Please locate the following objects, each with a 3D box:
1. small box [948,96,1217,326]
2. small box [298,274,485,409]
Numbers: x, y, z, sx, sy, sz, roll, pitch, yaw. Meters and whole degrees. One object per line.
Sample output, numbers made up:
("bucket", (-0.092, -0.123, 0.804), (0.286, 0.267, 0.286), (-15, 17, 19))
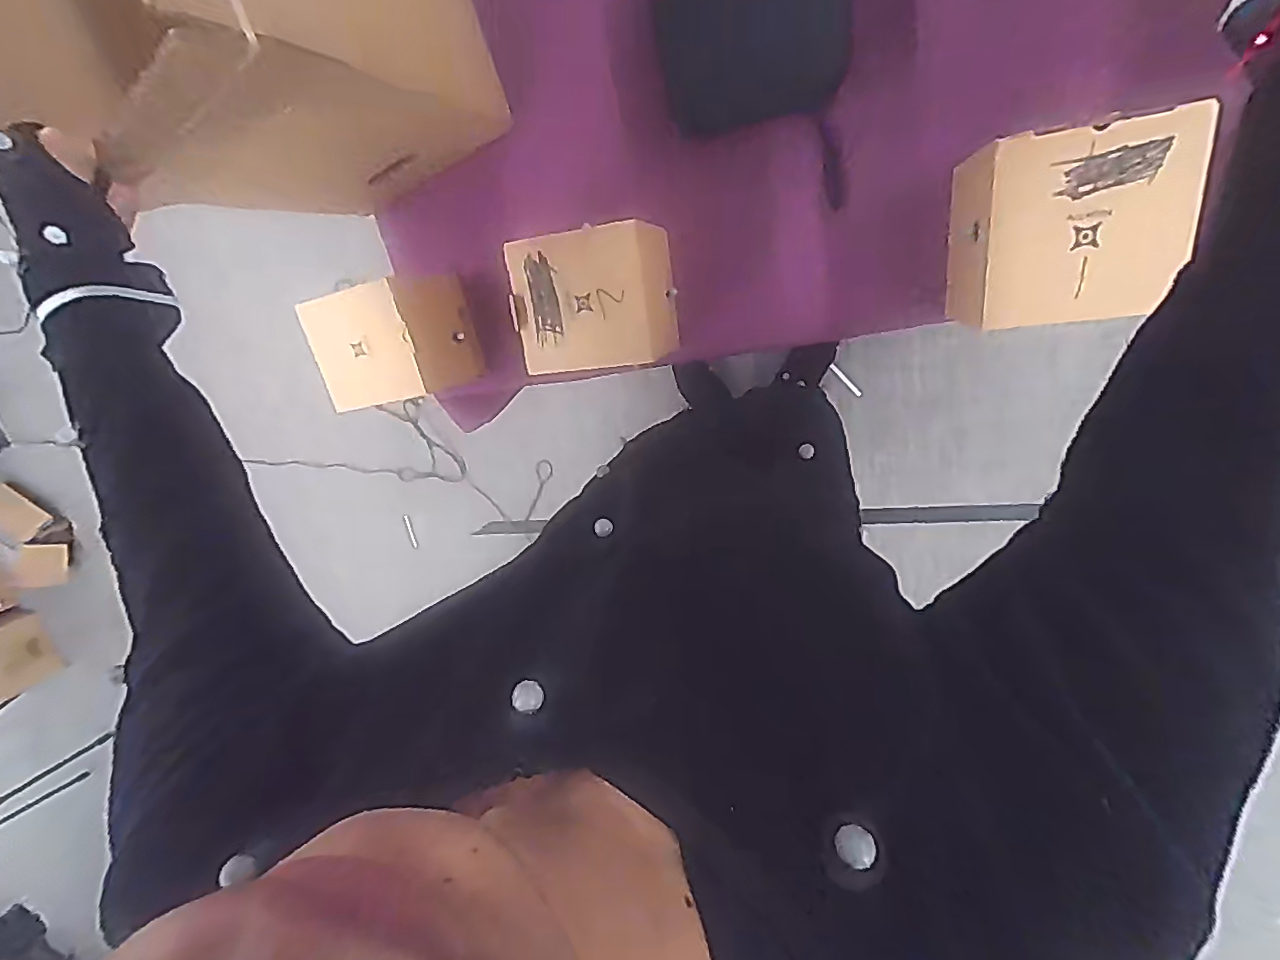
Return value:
("small box", (0.440, -0.269, 0.575), (0.168, 0.176, 0.179), (-1, 111, 18))
("small box", (-0.379, -0.219, 0.852), (0.179, 0.176, 0.168), (-8, 108, 19))
